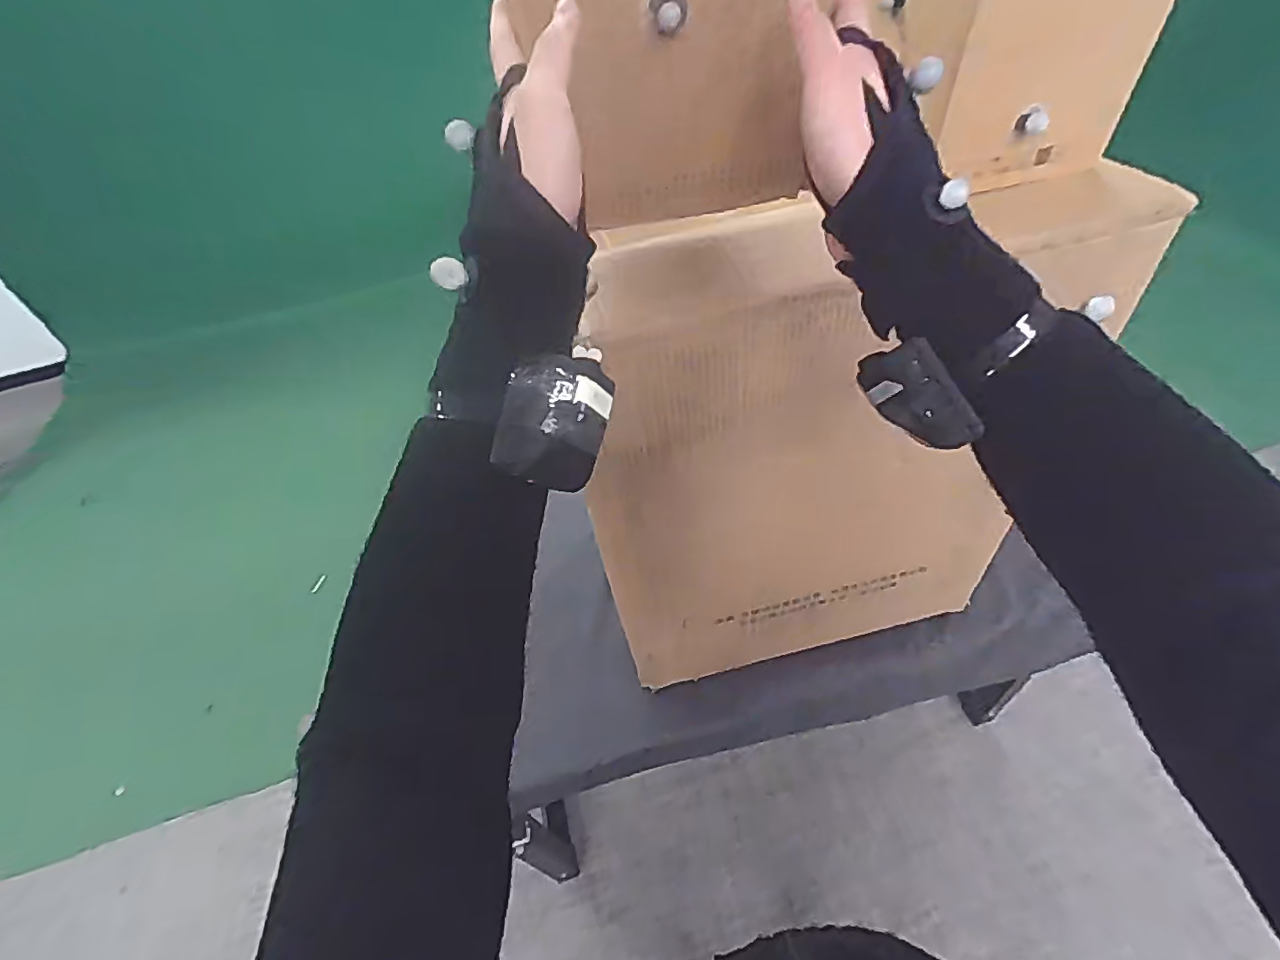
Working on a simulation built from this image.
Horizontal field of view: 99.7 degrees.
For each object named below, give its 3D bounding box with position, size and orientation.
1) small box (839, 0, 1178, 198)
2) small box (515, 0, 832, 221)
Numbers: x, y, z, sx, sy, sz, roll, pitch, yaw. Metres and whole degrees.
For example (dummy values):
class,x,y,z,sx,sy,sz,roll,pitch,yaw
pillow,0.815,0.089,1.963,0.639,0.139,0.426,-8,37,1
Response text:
class,x,y,z,sx,sy,sz,roll,pitch,yaw
small box,0.293,-0.366,0.463,0.168,0.176,0.179,-13,48,-4
small box,0.016,-0.295,0.353,0.179,0.176,0.168,-7,64,0
